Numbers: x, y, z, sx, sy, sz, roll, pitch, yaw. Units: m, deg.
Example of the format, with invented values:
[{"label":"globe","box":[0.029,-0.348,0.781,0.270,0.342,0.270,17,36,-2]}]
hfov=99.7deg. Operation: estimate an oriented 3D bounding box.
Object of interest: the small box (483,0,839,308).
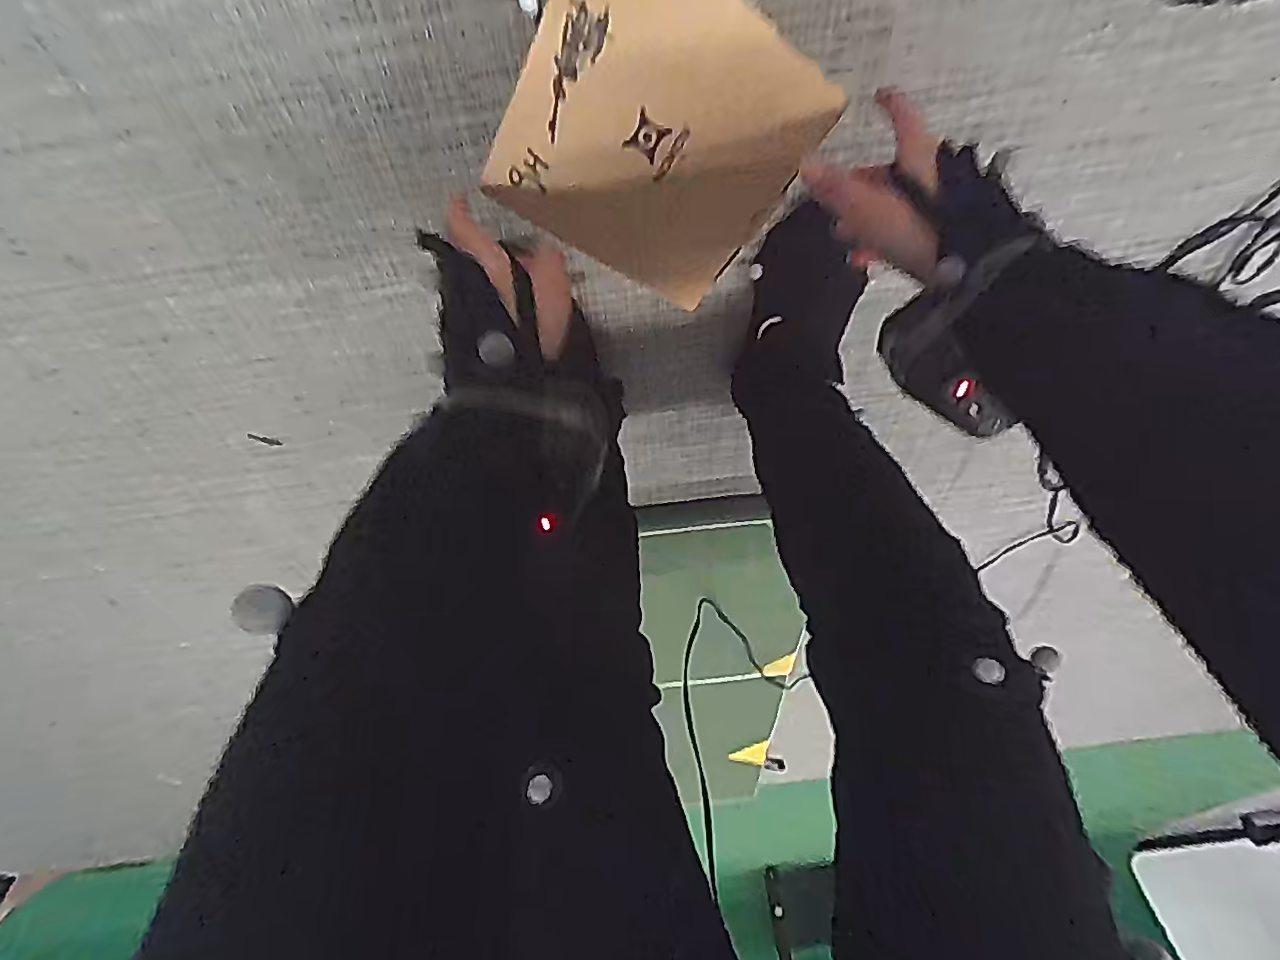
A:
[{"label":"small box","box":[0.006,-0.270,0.400,0.179,0.176,0.168,21,131,-26]}]
